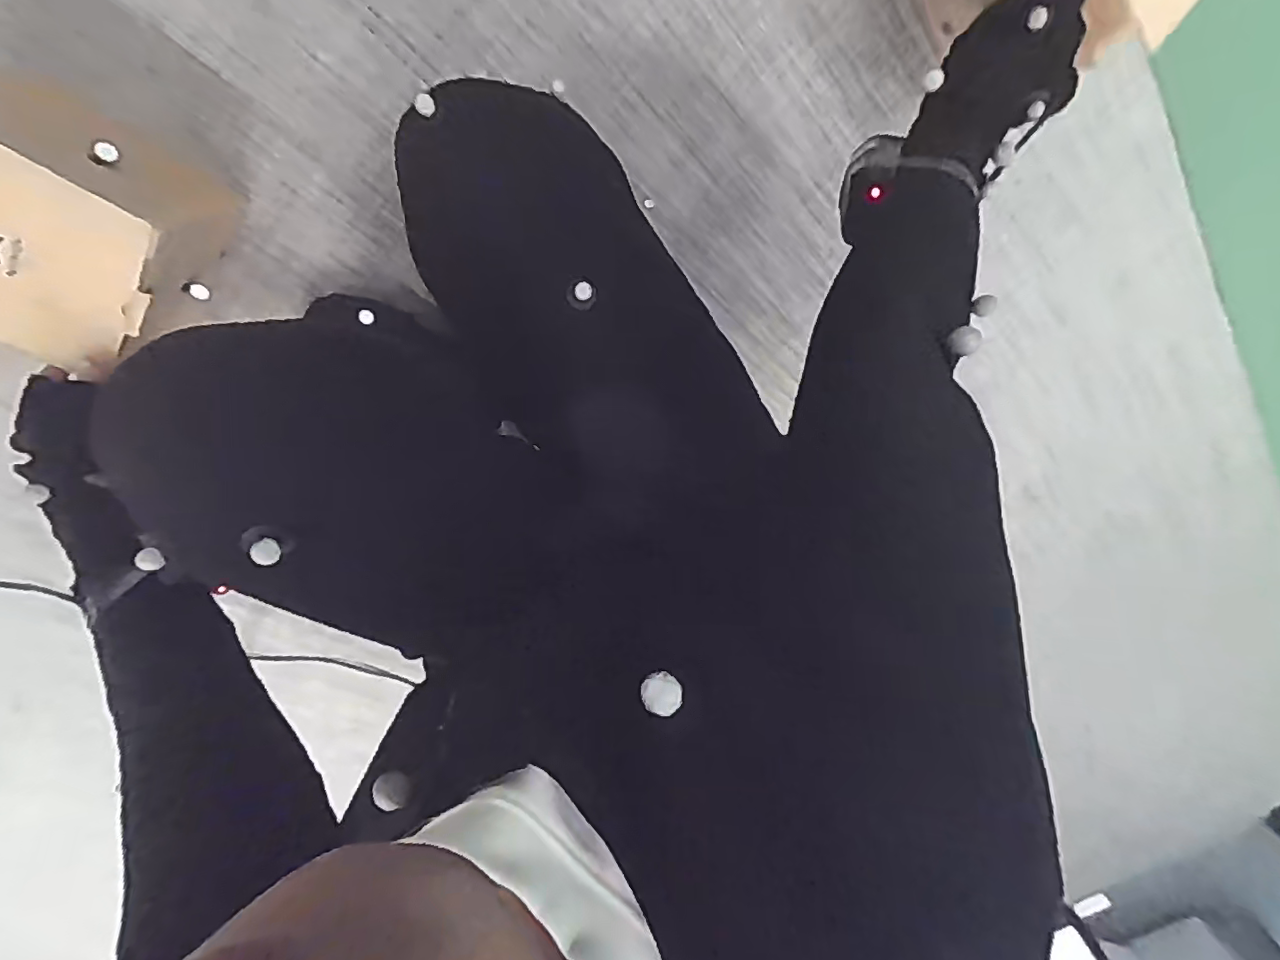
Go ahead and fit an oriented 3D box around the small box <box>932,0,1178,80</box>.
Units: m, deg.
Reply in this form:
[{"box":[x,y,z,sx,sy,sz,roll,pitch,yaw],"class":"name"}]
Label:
[{"box":[0.359,-0.471,0.444,0.179,0.176,0.168,-43,123,14],"class":"small box"}]
